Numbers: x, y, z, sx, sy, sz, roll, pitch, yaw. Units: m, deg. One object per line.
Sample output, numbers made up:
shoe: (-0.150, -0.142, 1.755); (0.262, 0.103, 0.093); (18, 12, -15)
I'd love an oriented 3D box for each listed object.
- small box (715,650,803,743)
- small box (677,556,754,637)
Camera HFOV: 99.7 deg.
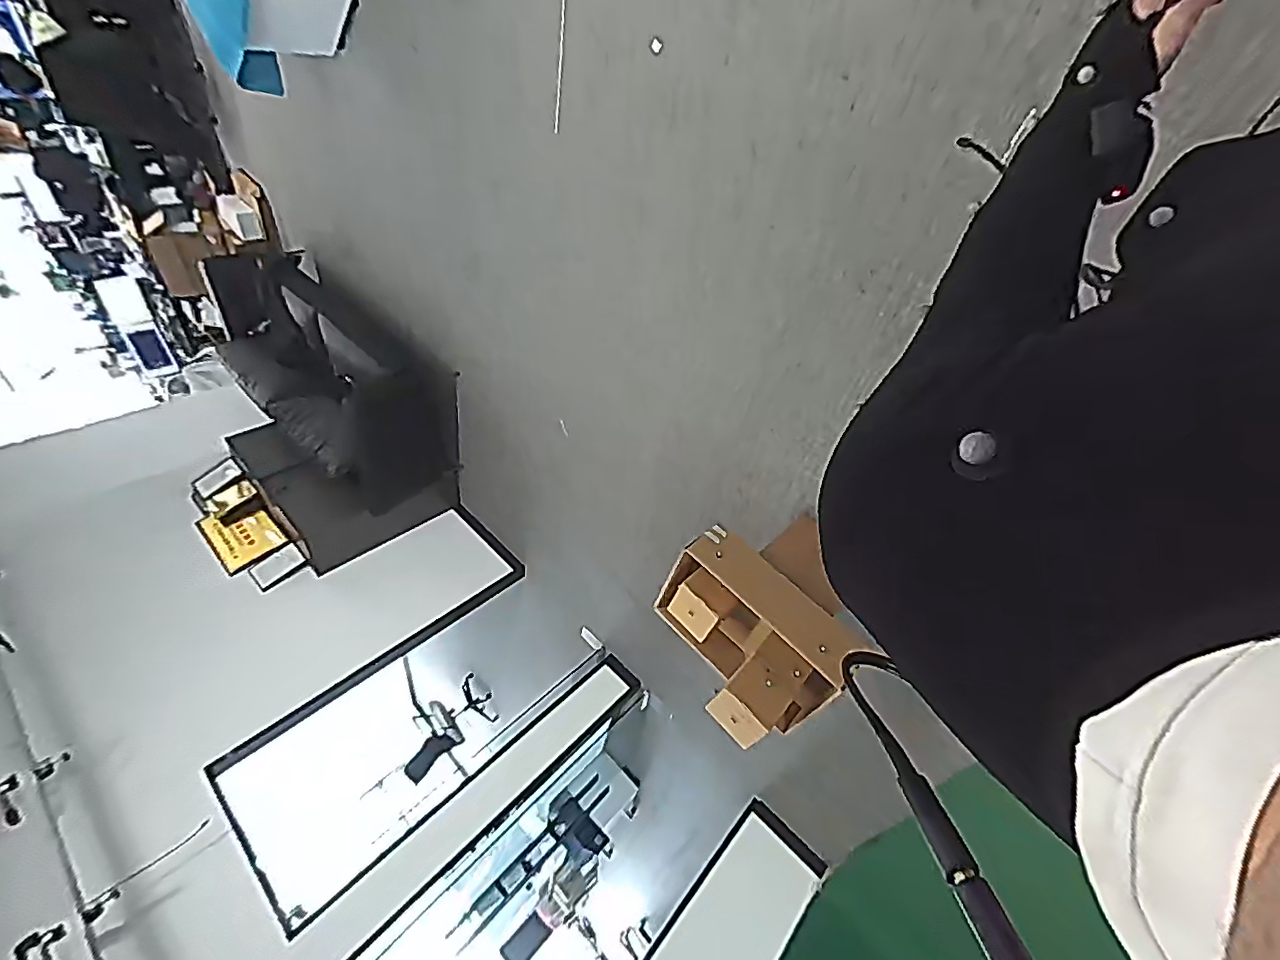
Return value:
small box: (0.362, 0.653, 1.635); (0.168, 0.176, 0.179); (43, 140, 19)
small box: (0.261, 0.397, 1.850); (0.168, 0.176, 0.179); (43, 139, 21)
